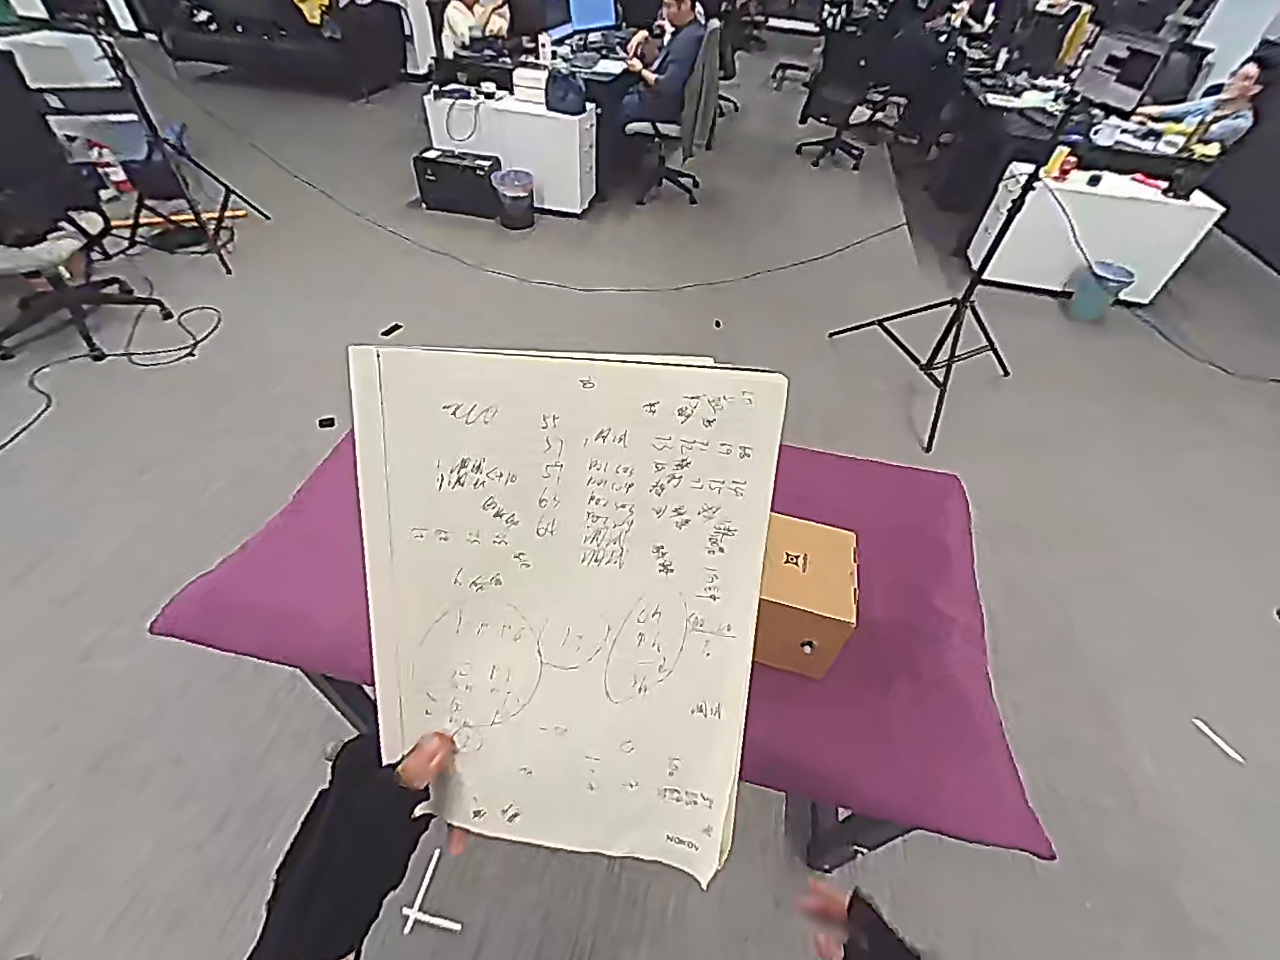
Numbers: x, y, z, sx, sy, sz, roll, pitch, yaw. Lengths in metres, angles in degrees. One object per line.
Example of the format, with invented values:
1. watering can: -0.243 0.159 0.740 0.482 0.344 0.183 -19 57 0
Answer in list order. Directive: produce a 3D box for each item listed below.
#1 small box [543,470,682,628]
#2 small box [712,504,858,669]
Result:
1. small box: -0.041 0.114 0.857 0.179 0.176 0.168 12 46 5
2. small box: 0.218 0.166 0.829 0.179 0.176 0.168 12 45 9
